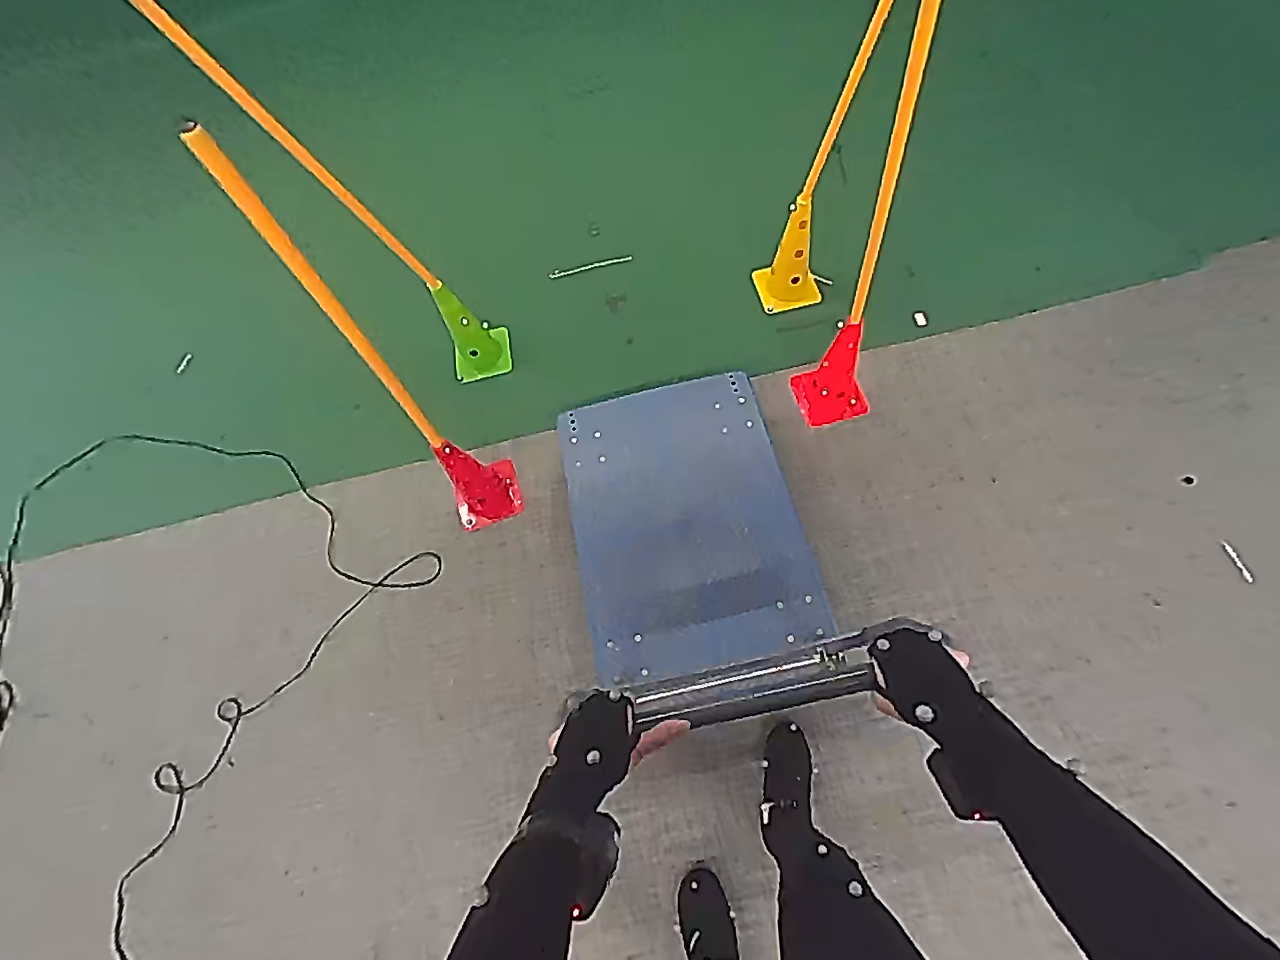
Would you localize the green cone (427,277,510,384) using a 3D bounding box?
[{"bbox_3d":[-0.584,-0.509,1.761,0.200,0.368,0.202,-14,64,2],"label":"green cone"}]

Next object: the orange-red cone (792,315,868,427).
[{"bbox_3d":[0.572,-0.336,1.538,0.198,0.360,0.199,-13,63,1],"label":"orange-red cone"}]
